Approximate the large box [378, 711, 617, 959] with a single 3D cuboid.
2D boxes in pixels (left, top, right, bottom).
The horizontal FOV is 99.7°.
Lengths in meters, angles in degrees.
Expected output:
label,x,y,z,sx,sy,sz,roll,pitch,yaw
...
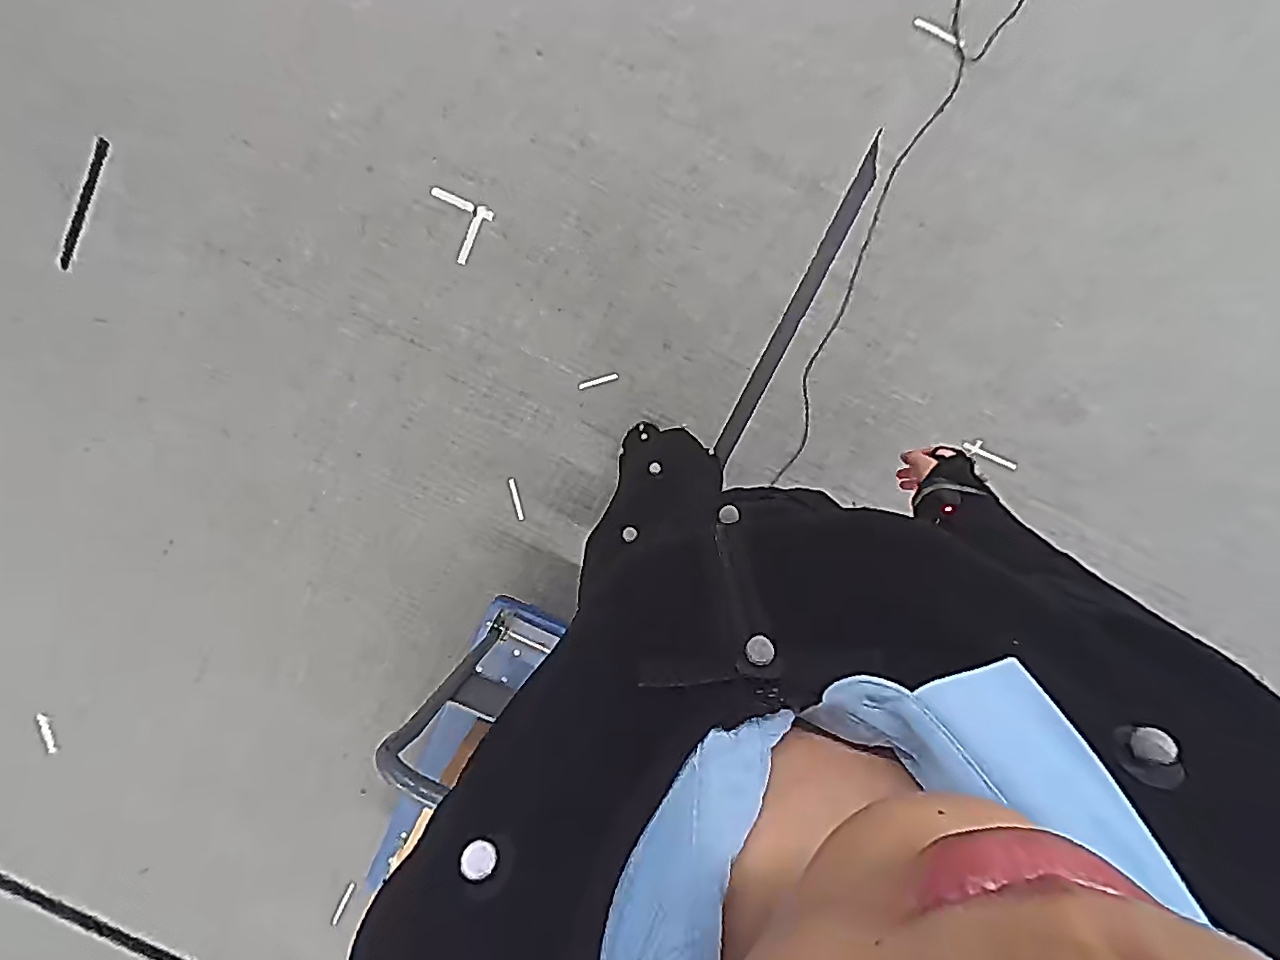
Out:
label,x,y,z,sx,sy,sz,roll,pitch,yaw
large box,-0.299,0.815,1.254,0.408,0.320,0.320,27,95,-2
